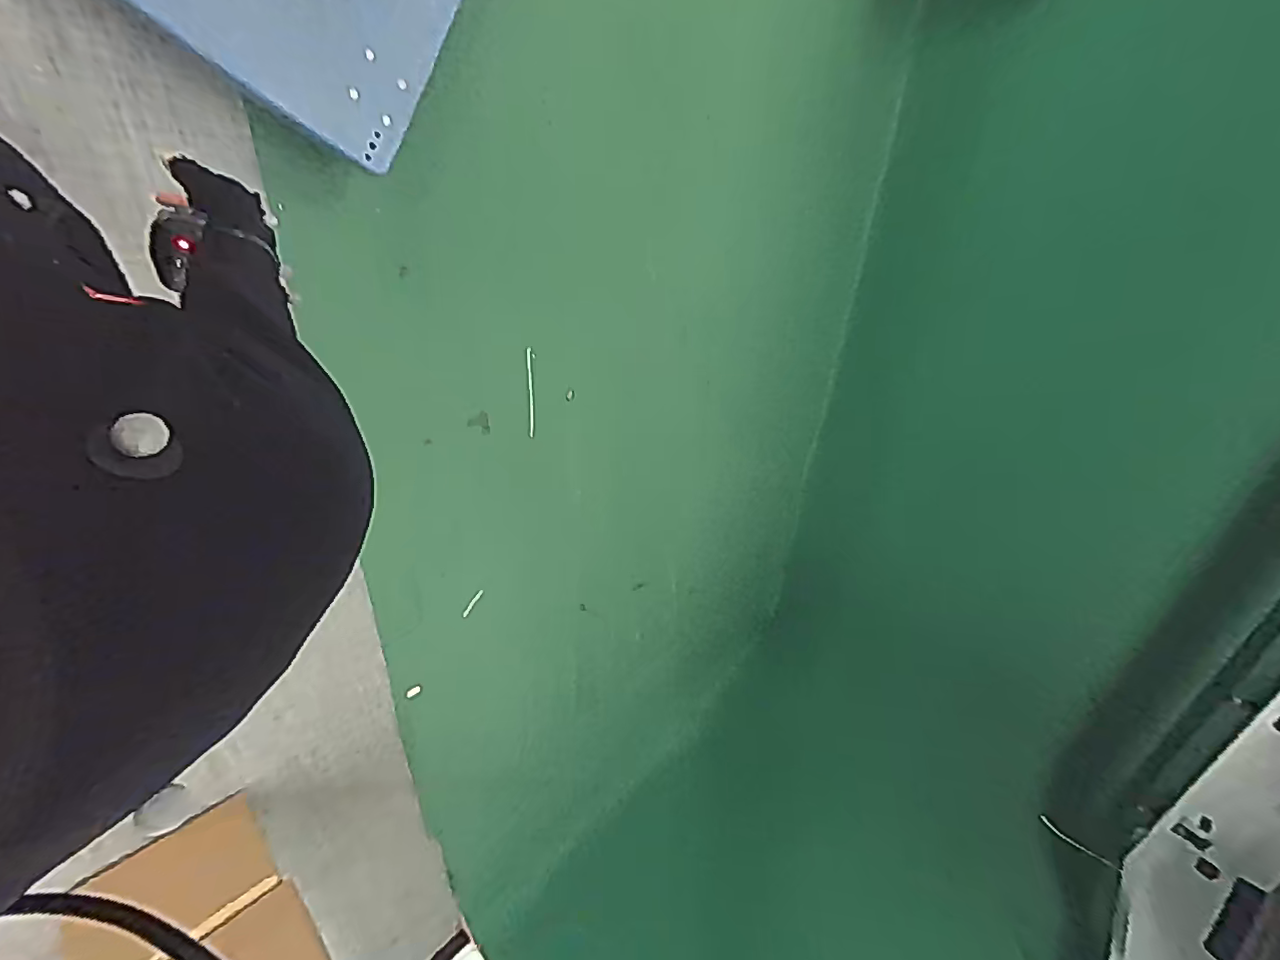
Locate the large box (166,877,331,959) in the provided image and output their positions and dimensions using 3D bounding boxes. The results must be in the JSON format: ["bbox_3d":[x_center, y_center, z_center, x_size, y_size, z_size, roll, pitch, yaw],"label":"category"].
[{"bbox_3d":[-1.006,1.322,1.339,0.408,0.320,0.320,-24,133,-41],"label":"large box"}]
